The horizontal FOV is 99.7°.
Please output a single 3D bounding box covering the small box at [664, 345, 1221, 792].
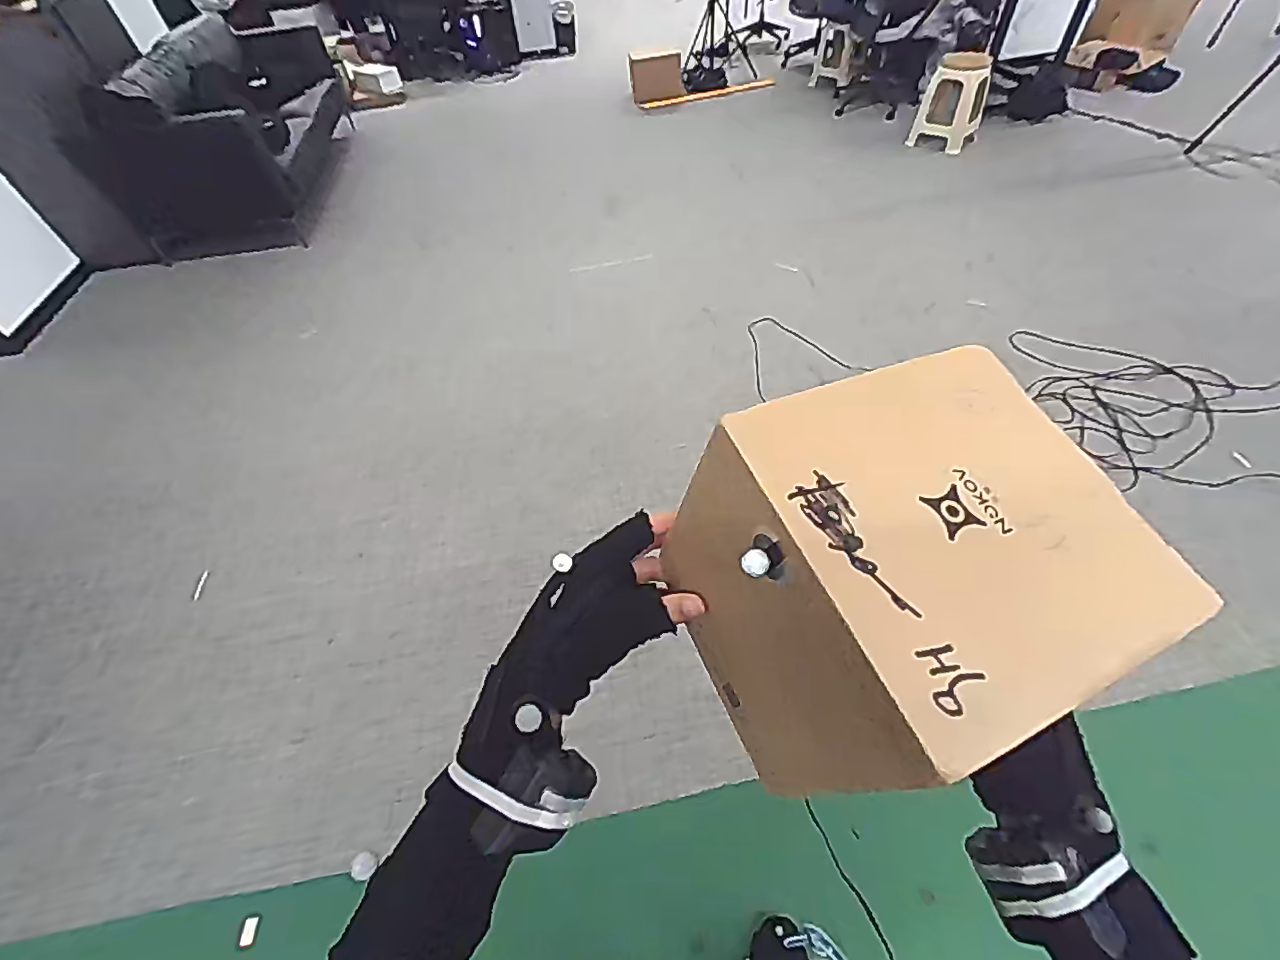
[{"bbox_3d":[0.135,0.053,0.308,0.179,0.176,0.168,-17,62,-21],"label":"small box"}]
